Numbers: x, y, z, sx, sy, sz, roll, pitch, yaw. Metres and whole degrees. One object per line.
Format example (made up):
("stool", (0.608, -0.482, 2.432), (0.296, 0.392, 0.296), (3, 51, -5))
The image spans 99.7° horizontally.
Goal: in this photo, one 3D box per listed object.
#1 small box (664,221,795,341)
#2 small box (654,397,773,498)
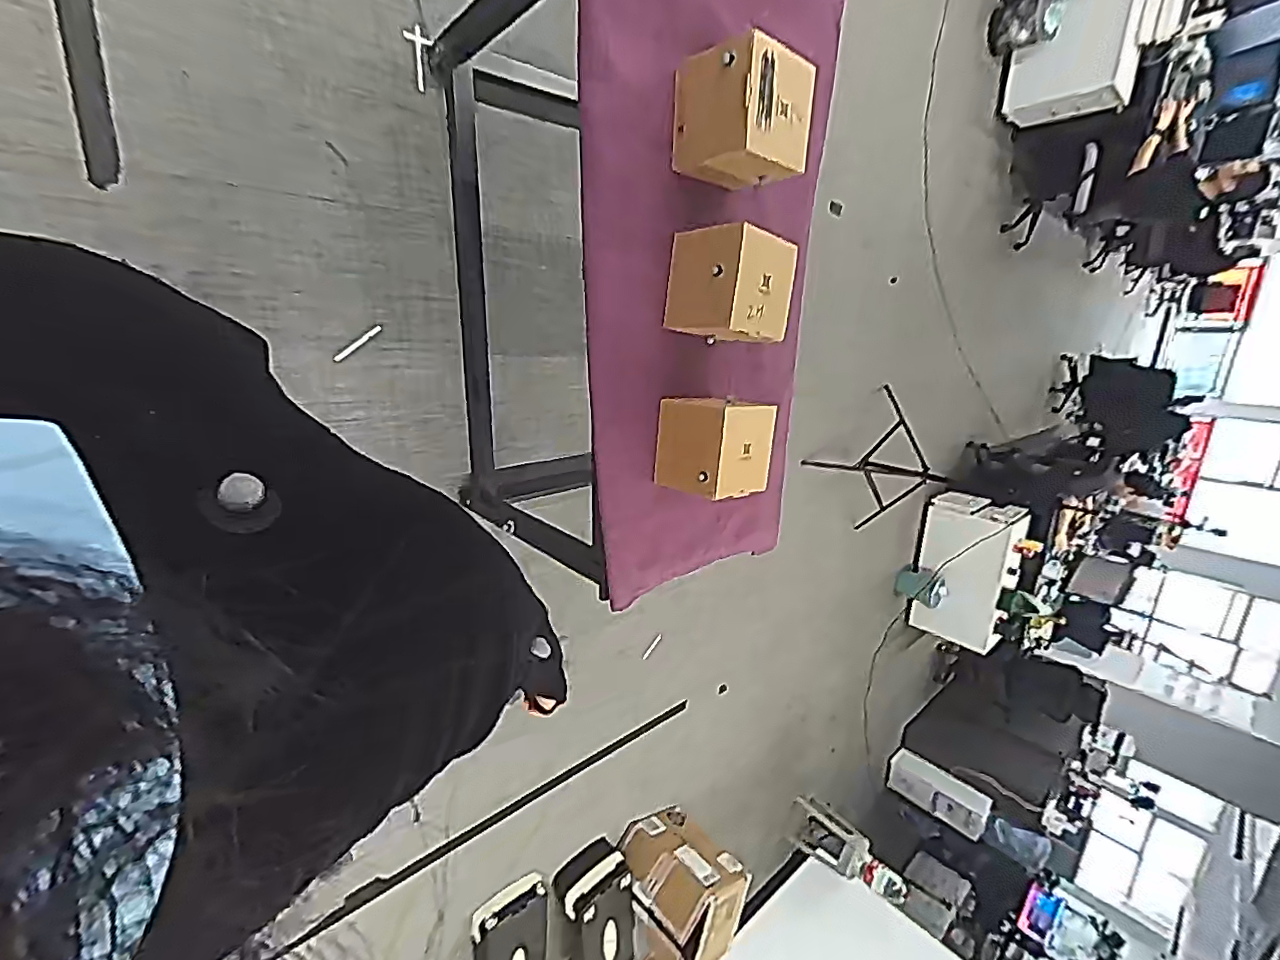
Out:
("small box", (0.164, -0.365, 1.021), (0.168, 0.176, 0.179), (-2, 104, -42))
("small box", (0.145, -0.075, 1.092), (0.168, 0.176, 0.179), (-8, 108, -43))
